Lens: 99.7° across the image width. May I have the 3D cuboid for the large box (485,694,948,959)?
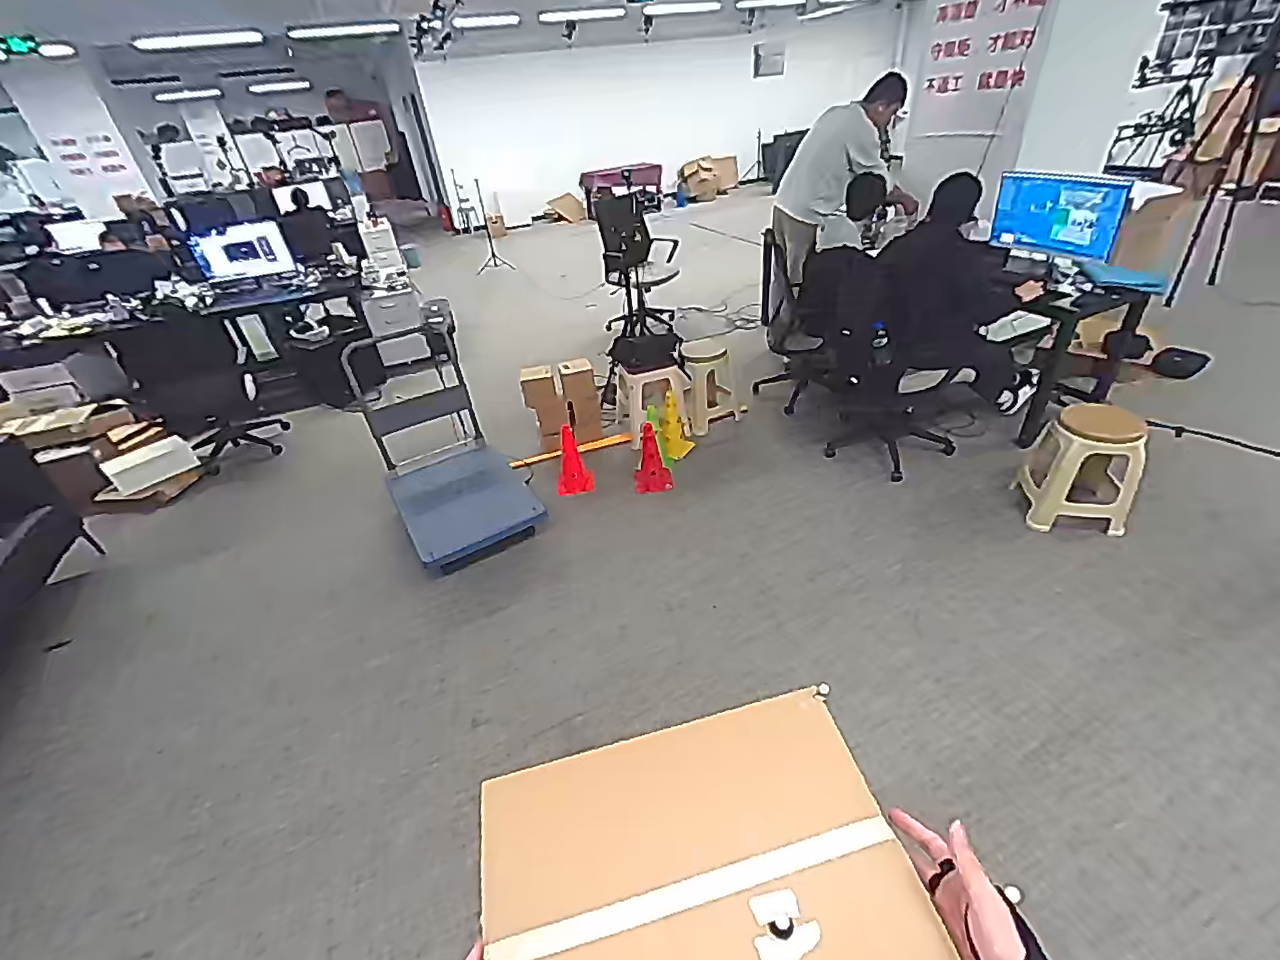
[{"bbox_3d":[0.066,0.515,0.620,0.408,0.320,0.320,-14,42,-7],"label":"large box"}]
